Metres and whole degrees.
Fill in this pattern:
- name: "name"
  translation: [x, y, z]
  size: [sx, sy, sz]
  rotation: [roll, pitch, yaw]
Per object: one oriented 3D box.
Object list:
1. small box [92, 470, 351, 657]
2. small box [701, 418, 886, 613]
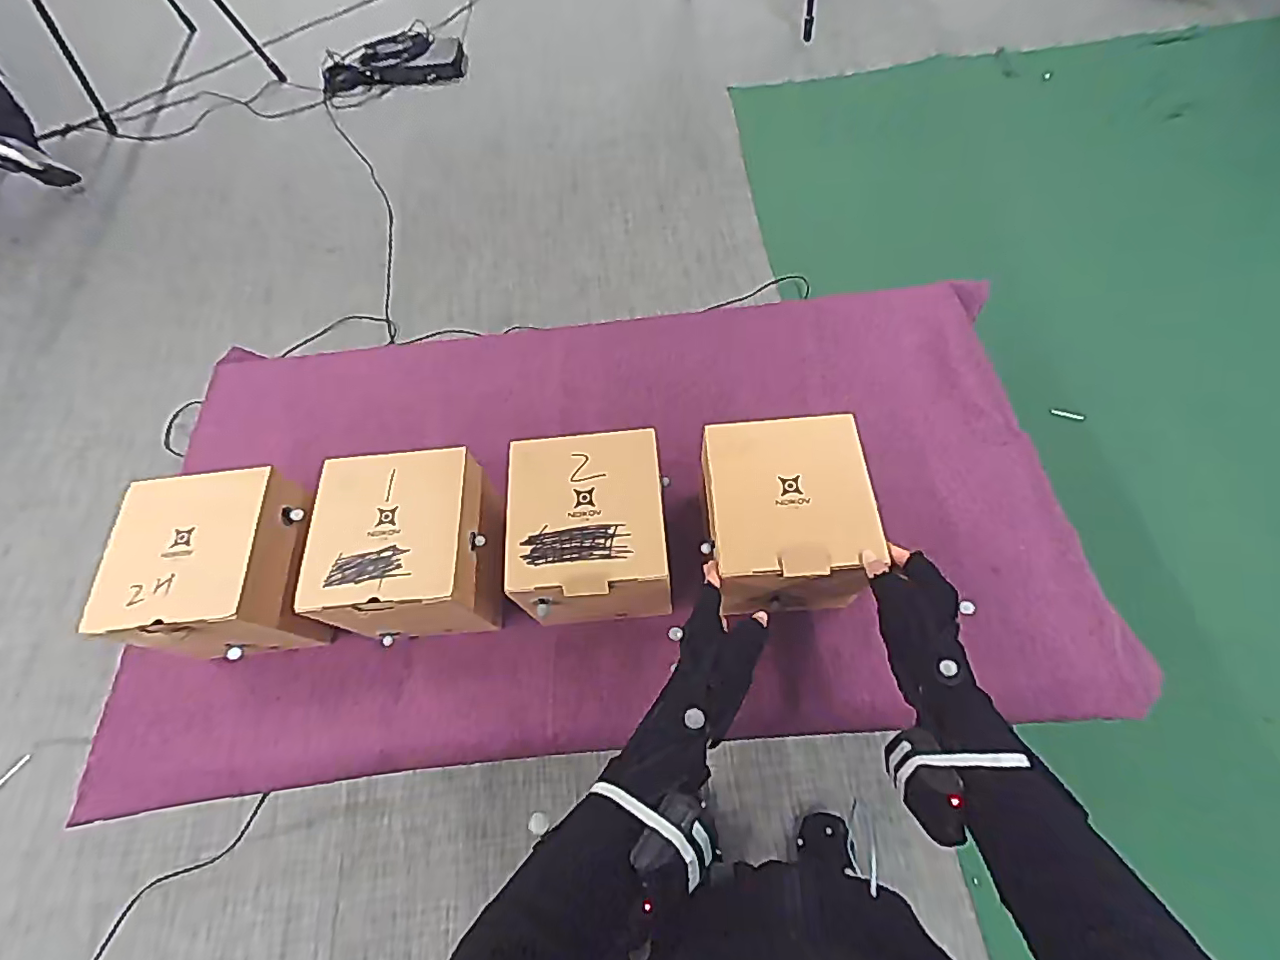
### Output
- name: "small box"
  translation: [-0.483, 0.108, 0.661]
  size: [0.168, 0.176, 0.179]
  rotation: [-6, 64, 2]
- name: "small box"
  translation: [0.162, 0.048, 0.639]
  size: [0.168, 0.176, 0.179]
  rotation: [-4, 64, 3]
